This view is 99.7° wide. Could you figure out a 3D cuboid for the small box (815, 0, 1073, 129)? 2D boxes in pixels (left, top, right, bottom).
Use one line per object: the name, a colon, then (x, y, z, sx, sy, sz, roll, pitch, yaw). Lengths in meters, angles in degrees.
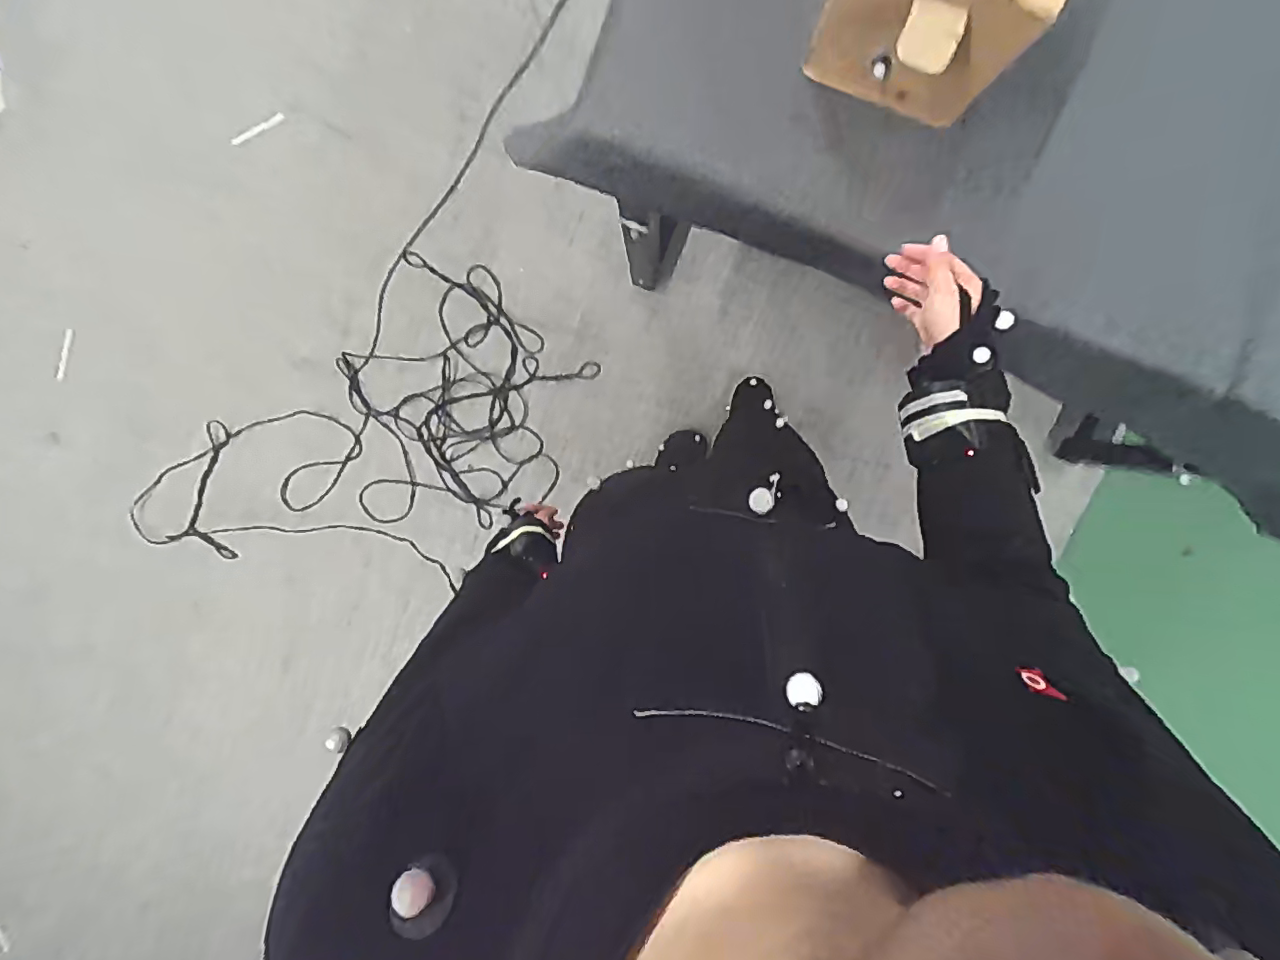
small box: (0.281, -0.468, 0.485, 0.168, 0.176, 0.179, 21, 97, -2)
